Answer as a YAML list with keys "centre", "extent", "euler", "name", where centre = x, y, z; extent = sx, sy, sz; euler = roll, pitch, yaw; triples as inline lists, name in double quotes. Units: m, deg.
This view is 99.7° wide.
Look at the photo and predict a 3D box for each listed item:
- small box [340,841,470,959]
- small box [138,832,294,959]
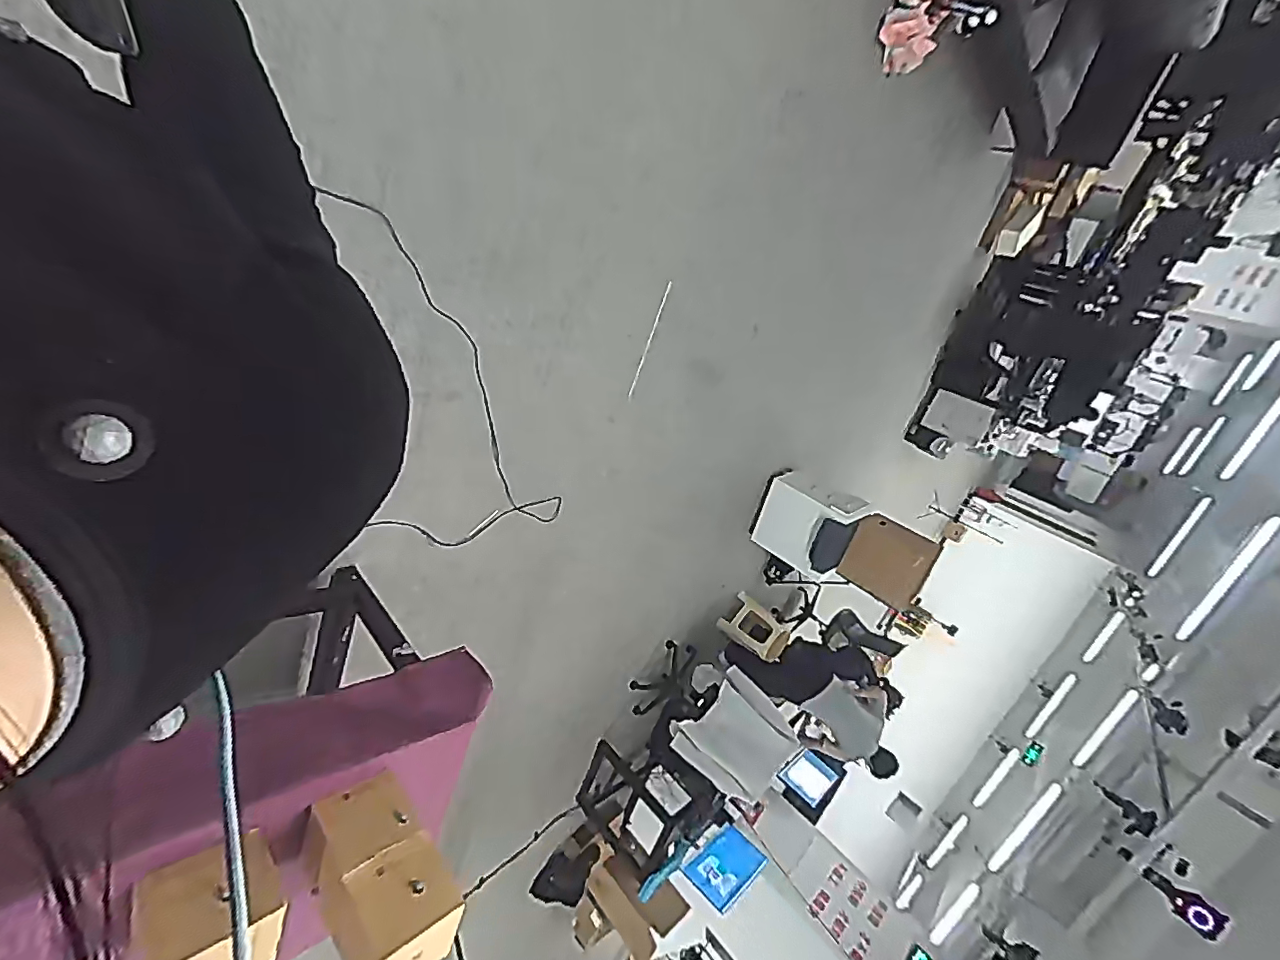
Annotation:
- centre: [-0.456, 0.843, 1.038]
  extent: [0.168, 0.176, 0.179]
  euler: [-5, 123, -47]
  name: "small box"
- centre: [-0.732, 0.763, 0.933]
  extent: [0.179, 0.176, 0.168]
  euler: [-2, 119, -49]
  name: "small box"
